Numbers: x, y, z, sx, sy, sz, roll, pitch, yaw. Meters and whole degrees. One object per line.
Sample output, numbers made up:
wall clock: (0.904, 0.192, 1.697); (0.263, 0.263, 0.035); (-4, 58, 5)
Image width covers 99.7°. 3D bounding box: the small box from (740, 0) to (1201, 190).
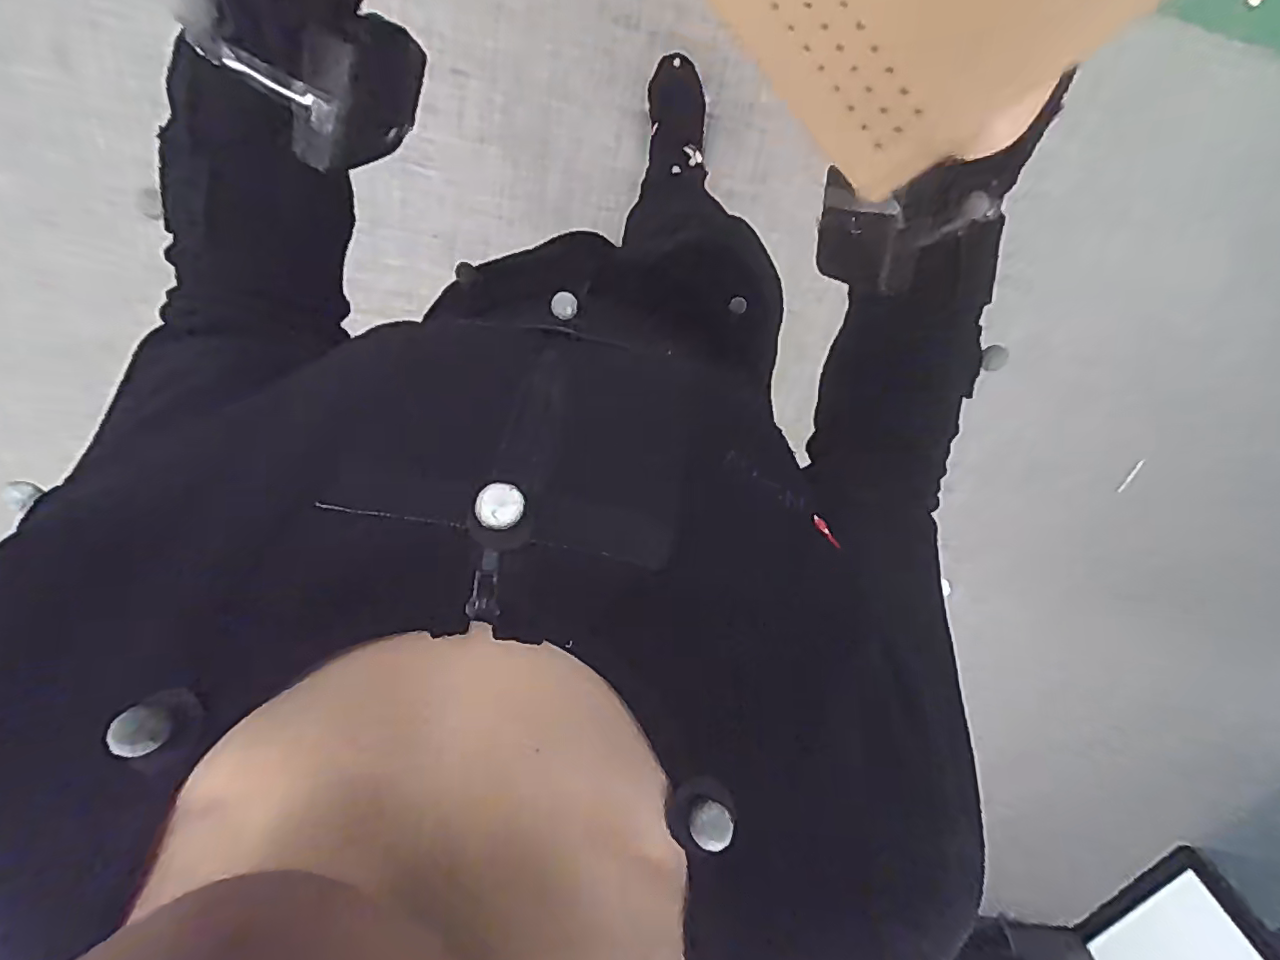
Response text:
small box: (0.099, -0.210, 0.110); (0.179, 0.176, 0.168); (40, 71, -15)
